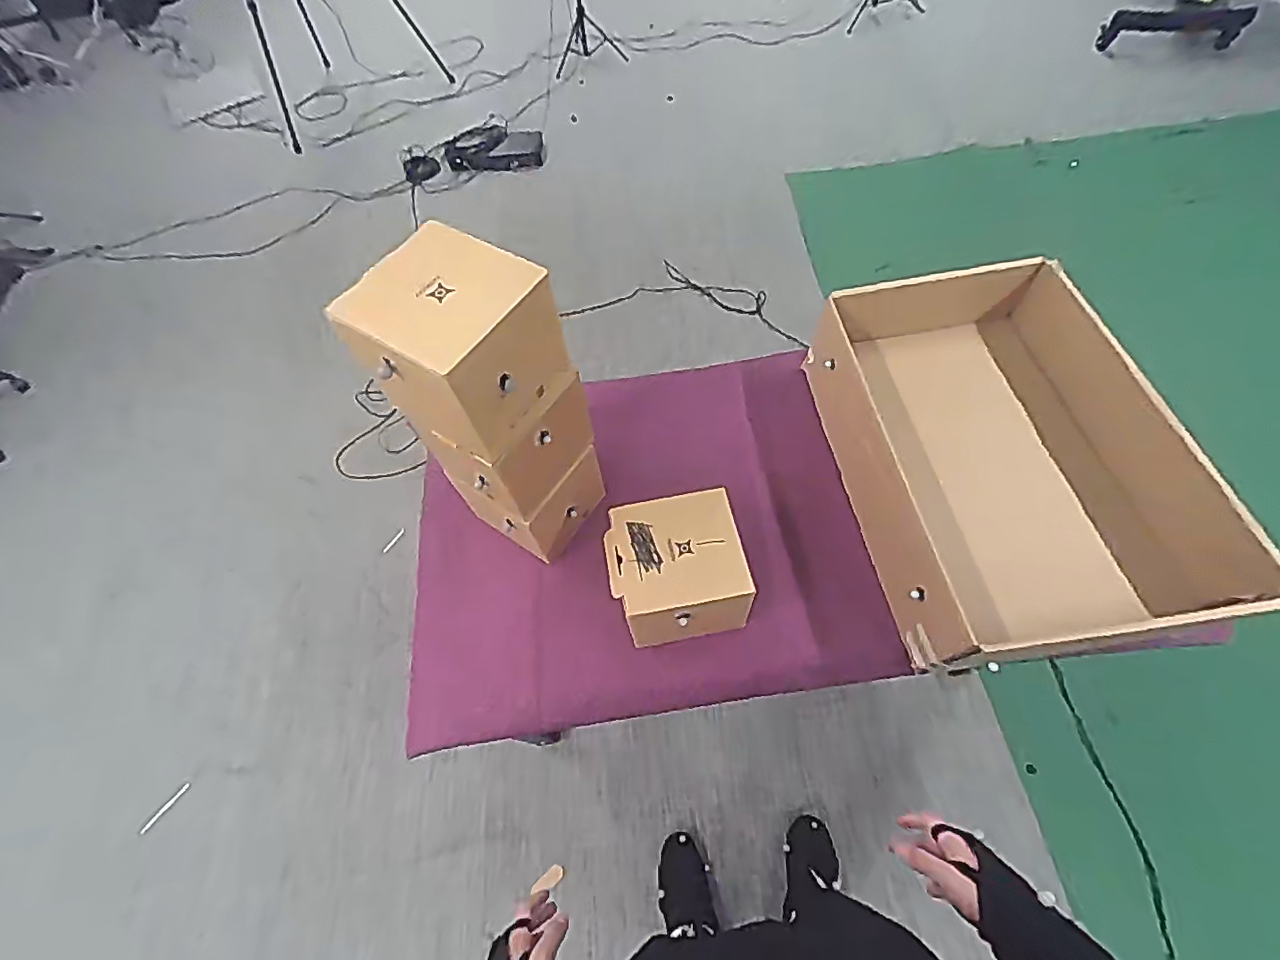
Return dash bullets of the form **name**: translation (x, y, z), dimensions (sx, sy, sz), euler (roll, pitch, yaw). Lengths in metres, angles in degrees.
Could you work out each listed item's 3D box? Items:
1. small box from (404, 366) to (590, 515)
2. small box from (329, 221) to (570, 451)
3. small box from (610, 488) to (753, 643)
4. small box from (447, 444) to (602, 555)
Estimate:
- **small box**: translation (-0.187, -0.078, 0.772), dimensions (0.168, 0.176, 0.179), euler (30, 67, 18)
- **small box**: translation (-0.203, -0.157, 0.632), dimensions (0.179, 0.176, 0.168), euler (28, 67, 18)
- **small box**: translation (0.060, 0.136, 0.818), dimensions (0.179, 0.176, 0.168), euler (-11, 60, -2)
- **small box**: translation (-0.181, 0.005, 0.912), dimensions (0.179, 0.176, 0.168), euler (30, 66, 19)
